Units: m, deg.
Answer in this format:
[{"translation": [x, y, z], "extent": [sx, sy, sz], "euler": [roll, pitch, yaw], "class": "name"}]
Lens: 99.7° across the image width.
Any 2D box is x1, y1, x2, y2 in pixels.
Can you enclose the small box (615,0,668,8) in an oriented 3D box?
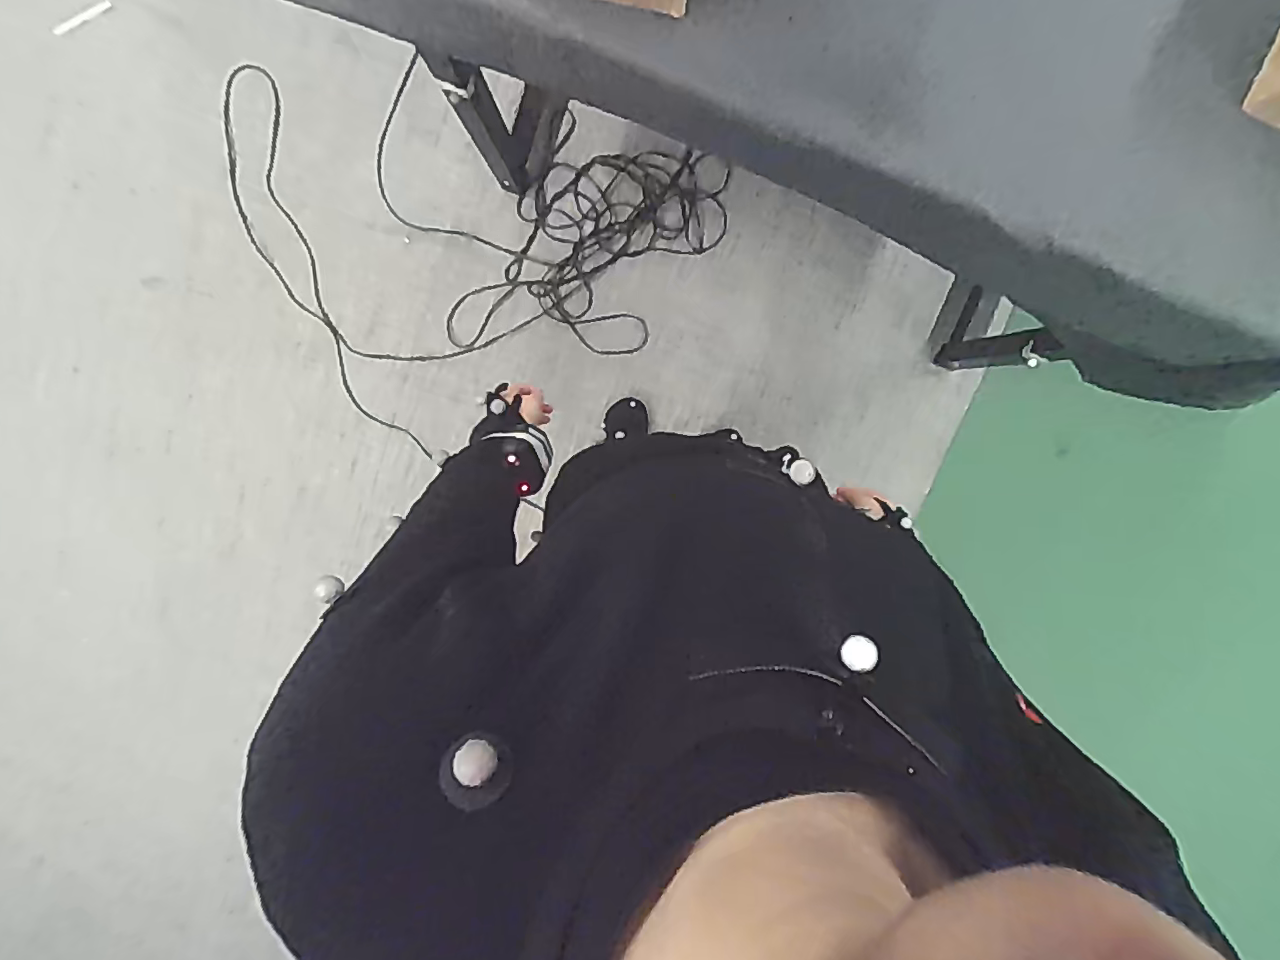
[{"translation": [-0.022, -0.556, 0.457], "extent": [0.179, 0.176, 0.168], "euler": [10, 97, -3], "class": "small box"}]
